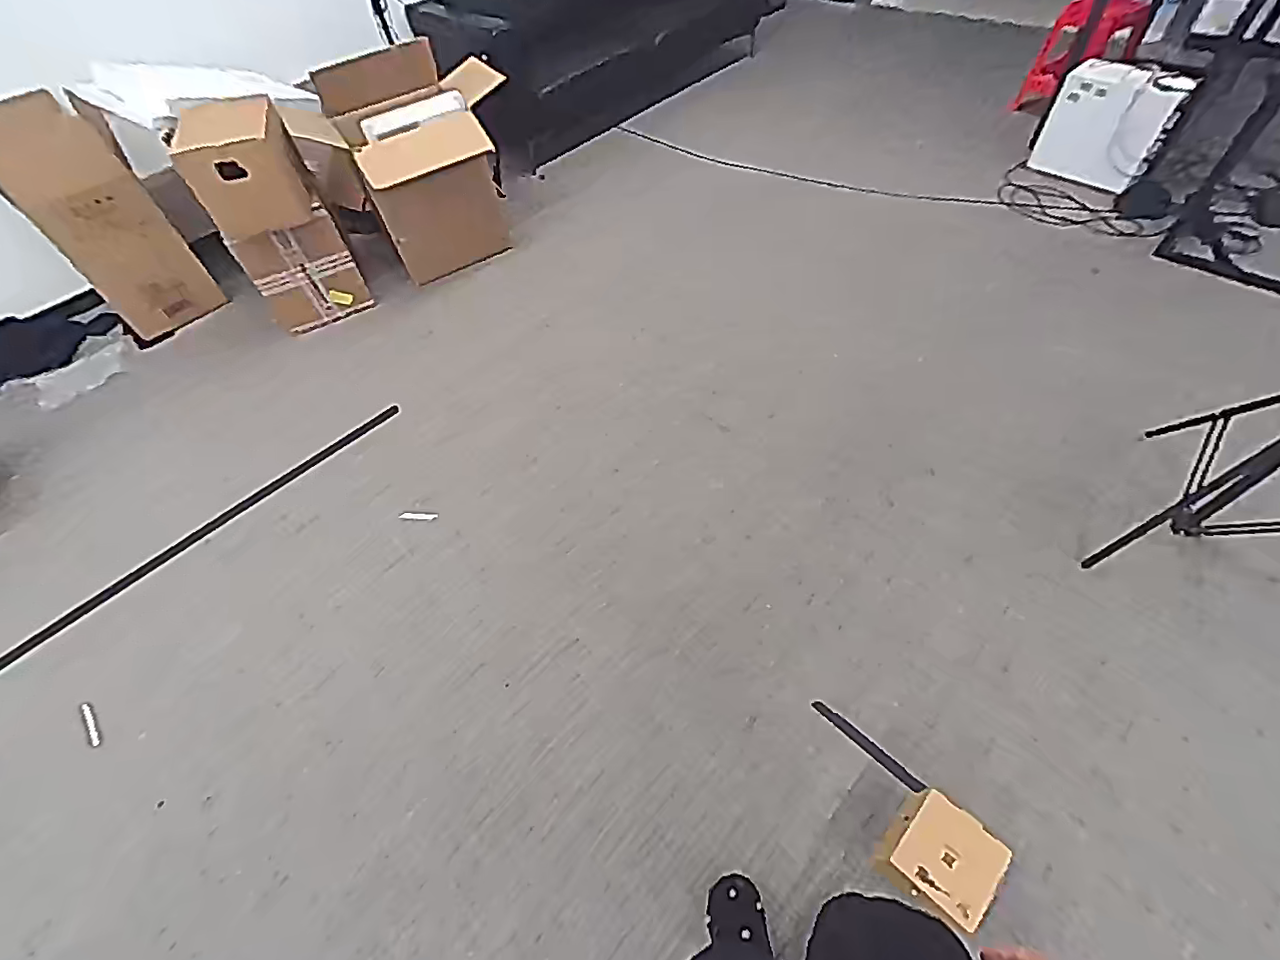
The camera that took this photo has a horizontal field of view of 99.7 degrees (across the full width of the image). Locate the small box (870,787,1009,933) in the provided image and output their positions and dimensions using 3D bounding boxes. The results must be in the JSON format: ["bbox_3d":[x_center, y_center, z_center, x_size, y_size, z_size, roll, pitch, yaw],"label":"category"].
[{"bbox_3d":[0.604,0.773,1.112,0.168,0.176,0.179,36,64,27],"label":"small box"}]
